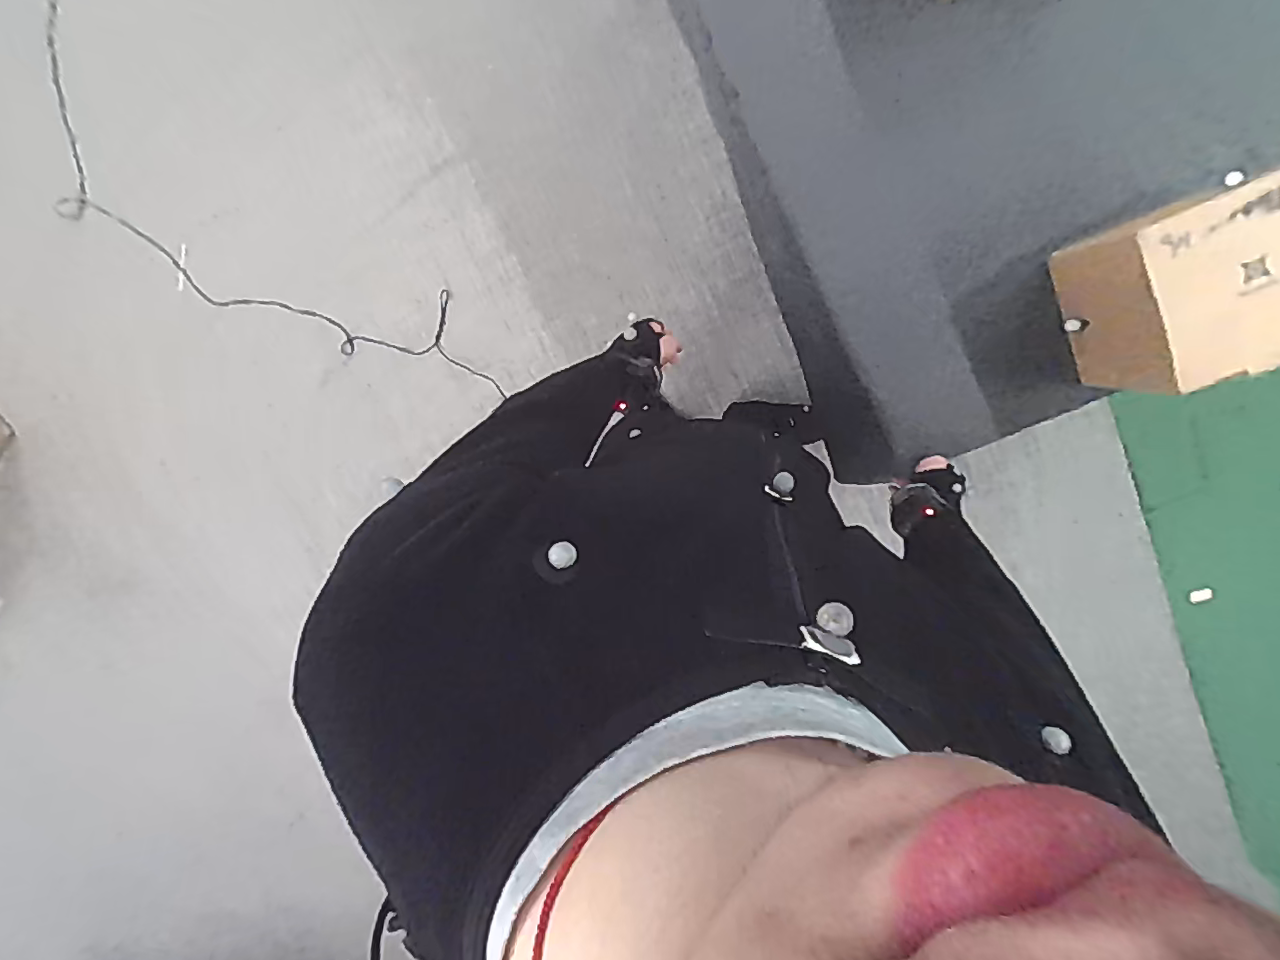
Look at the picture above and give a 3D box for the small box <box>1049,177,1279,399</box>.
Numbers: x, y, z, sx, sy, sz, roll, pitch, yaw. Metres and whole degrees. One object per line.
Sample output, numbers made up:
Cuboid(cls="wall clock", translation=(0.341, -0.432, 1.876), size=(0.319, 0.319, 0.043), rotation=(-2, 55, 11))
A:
Cuboid(cls="small box", translation=(0.610, -0.209, 0.605), size=(0.168, 0.176, 0.179), rotation=(-23, 99, 12))
